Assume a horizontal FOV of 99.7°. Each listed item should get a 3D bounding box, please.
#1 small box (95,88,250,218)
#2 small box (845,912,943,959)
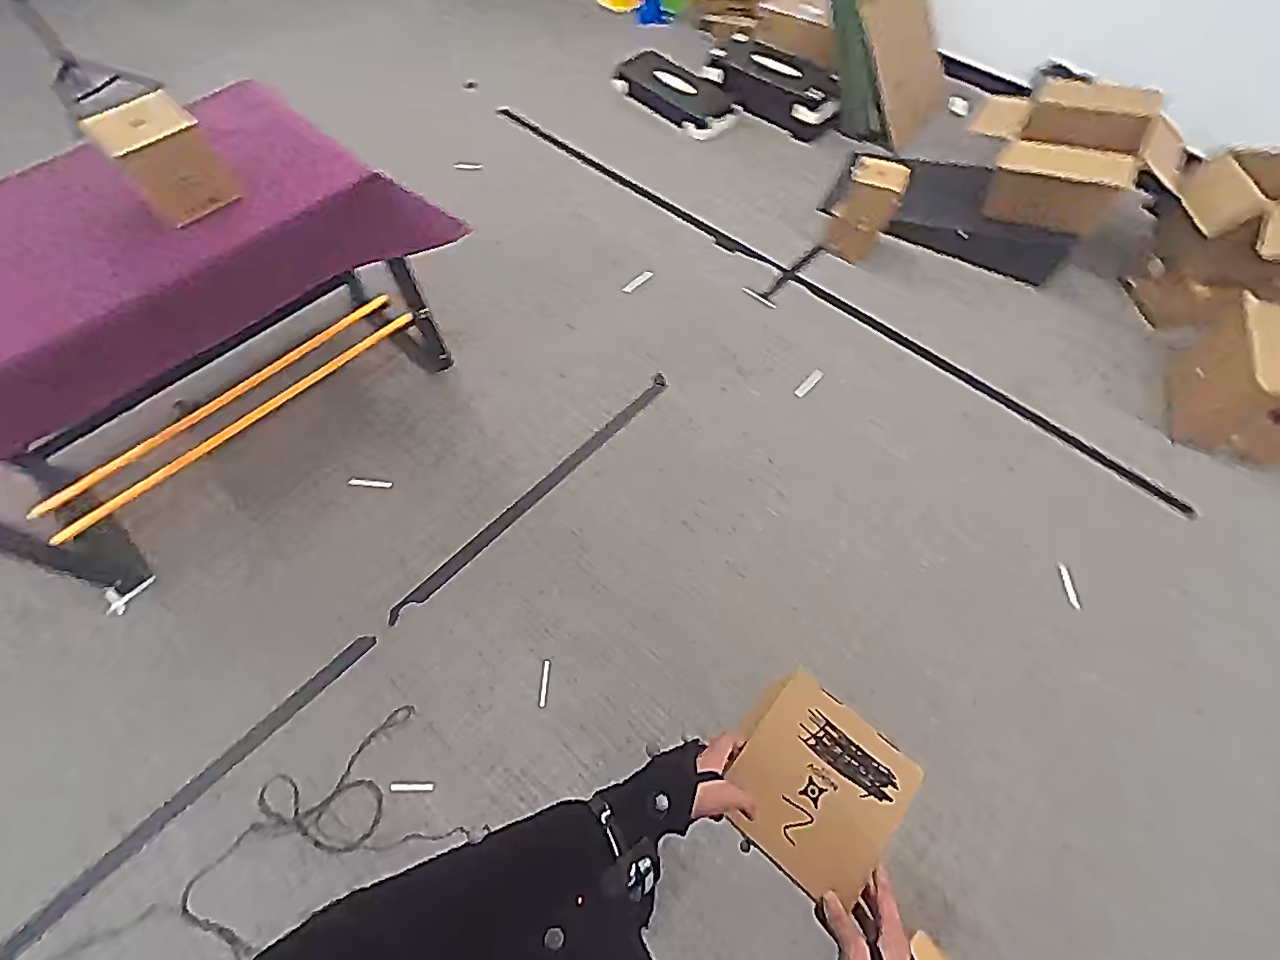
[{"bbox_3d":[-1.026,-0.719,1.203,0.179,0.176,0.168,40,68,18],"label":"small box"},{"bbox_3d":[0.559,1.075,1.146,0.179,0.176,0.168,-36,68,-19],"label":"small box"}]
